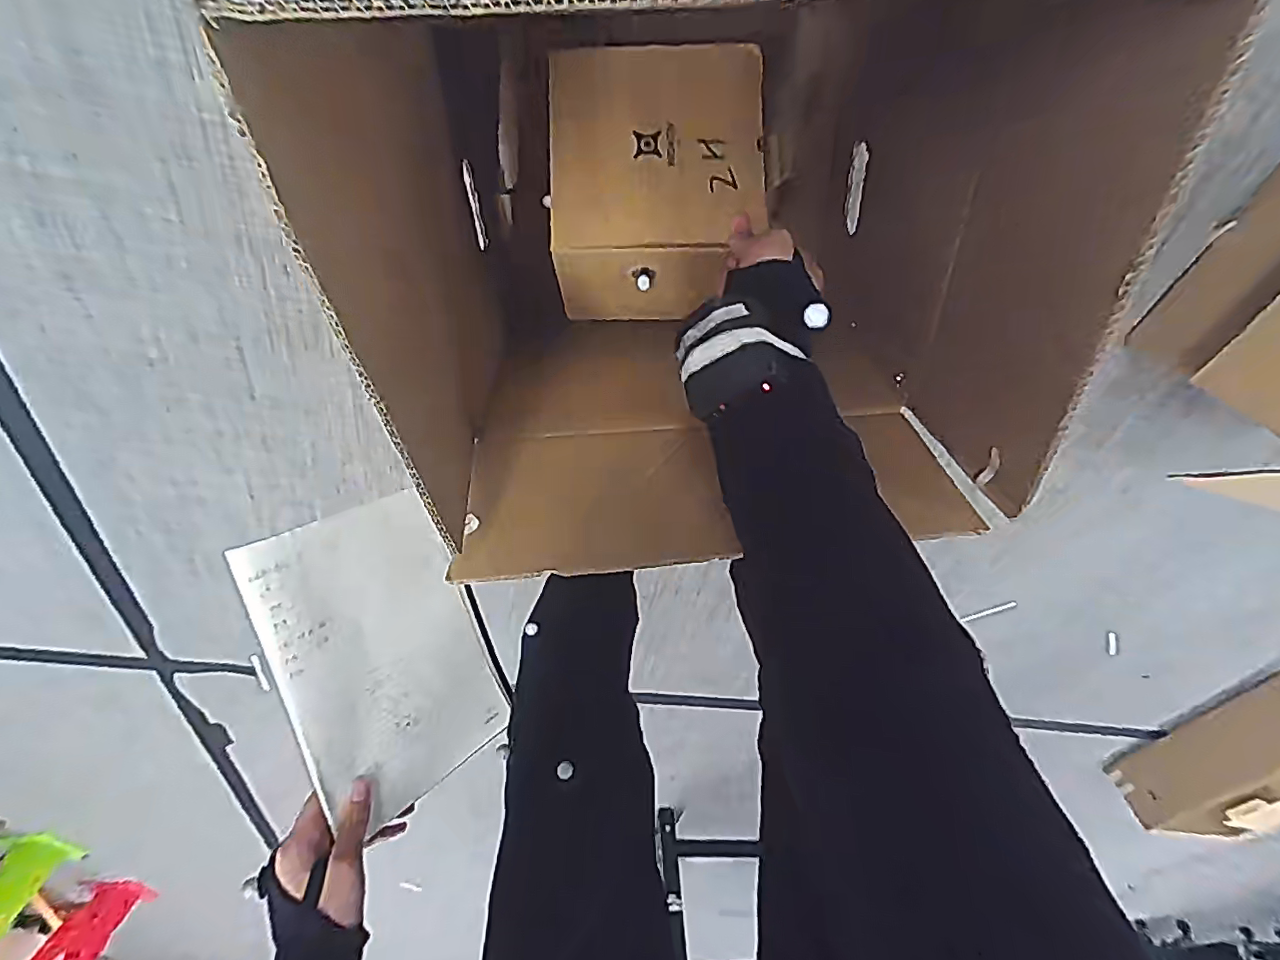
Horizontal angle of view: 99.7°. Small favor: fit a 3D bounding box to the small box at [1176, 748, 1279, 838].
[{"bbox_3d":[1.735,0.902,1.564,0.179,0.176,0.168,20,124,-18],"label":"small box"}]
